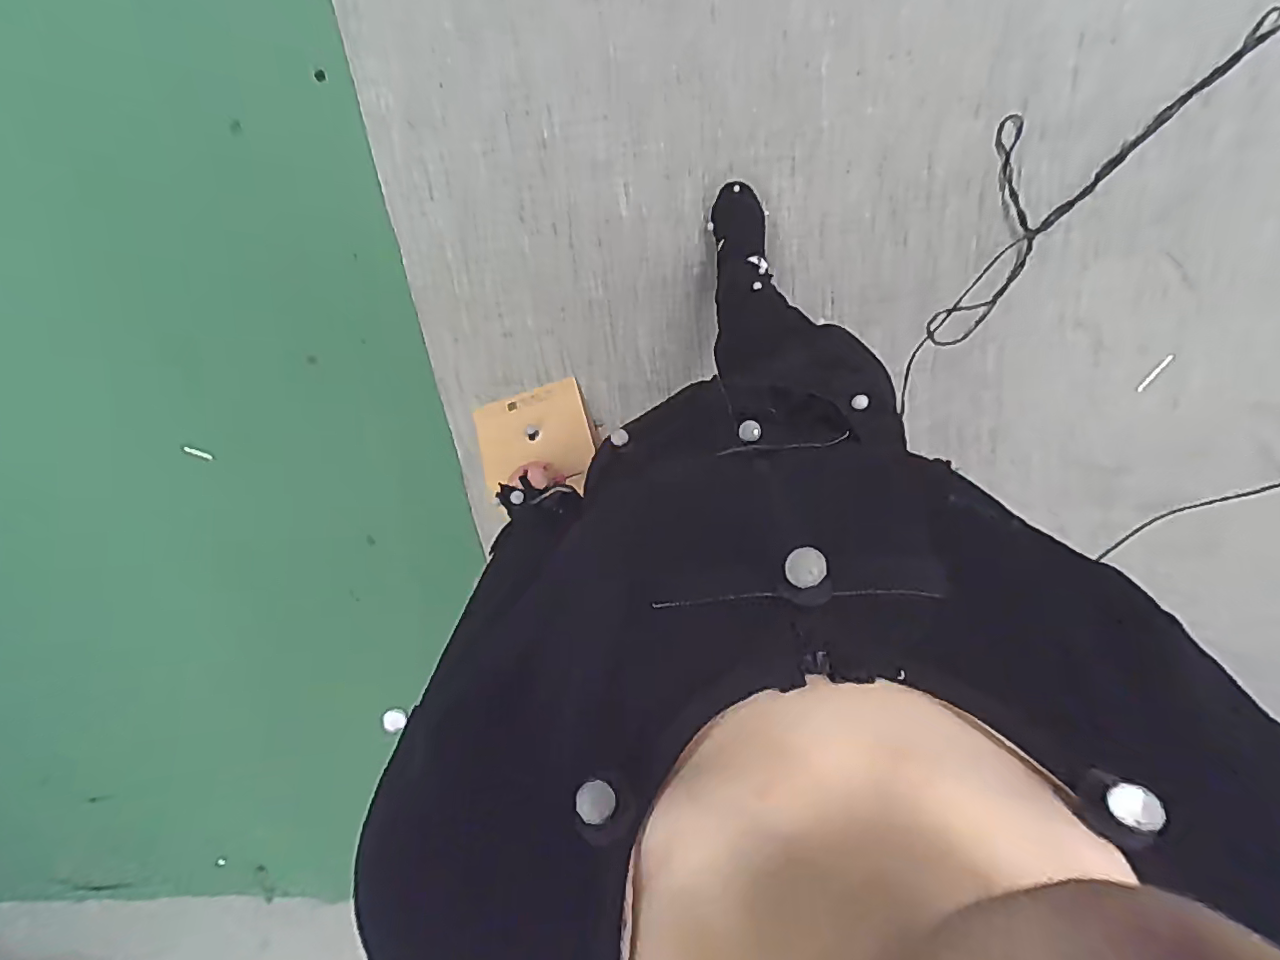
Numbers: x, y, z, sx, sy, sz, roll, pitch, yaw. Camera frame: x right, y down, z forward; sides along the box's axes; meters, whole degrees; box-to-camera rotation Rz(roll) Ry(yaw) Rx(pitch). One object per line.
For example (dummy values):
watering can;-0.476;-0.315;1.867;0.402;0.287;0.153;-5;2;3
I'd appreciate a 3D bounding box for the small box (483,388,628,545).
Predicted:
small box;-0.133;-0.025;0.857;0.168;0.176;0.179;-19;152;1
